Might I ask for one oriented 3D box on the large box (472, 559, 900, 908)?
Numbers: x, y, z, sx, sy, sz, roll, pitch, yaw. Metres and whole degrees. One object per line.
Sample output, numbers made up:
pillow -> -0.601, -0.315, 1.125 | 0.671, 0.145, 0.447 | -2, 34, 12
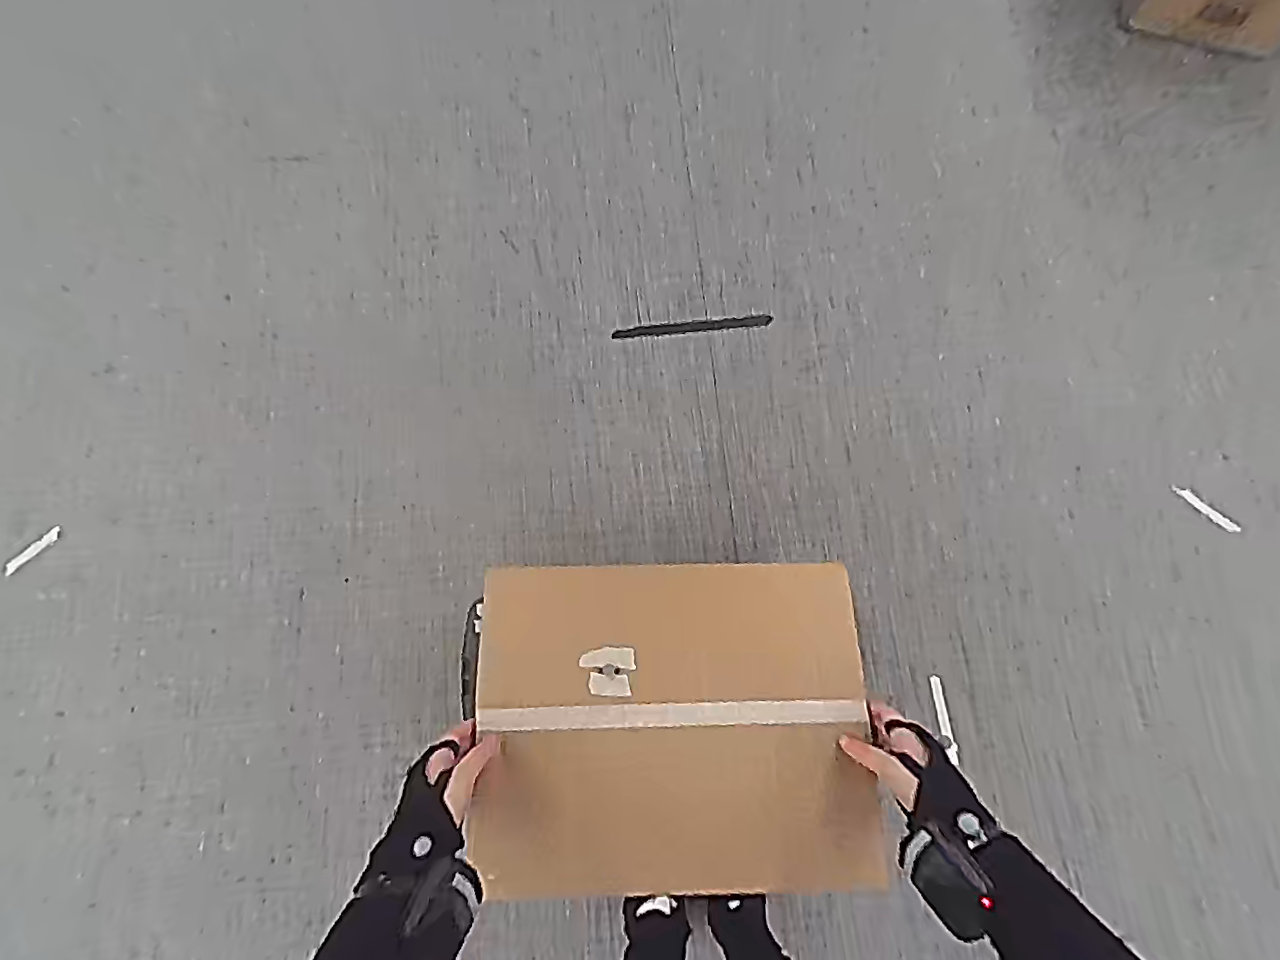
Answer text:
large box -> 0.041, 0.286, 0.684 | 0.408, 0.320, 0.320 | -1, 71, 0
